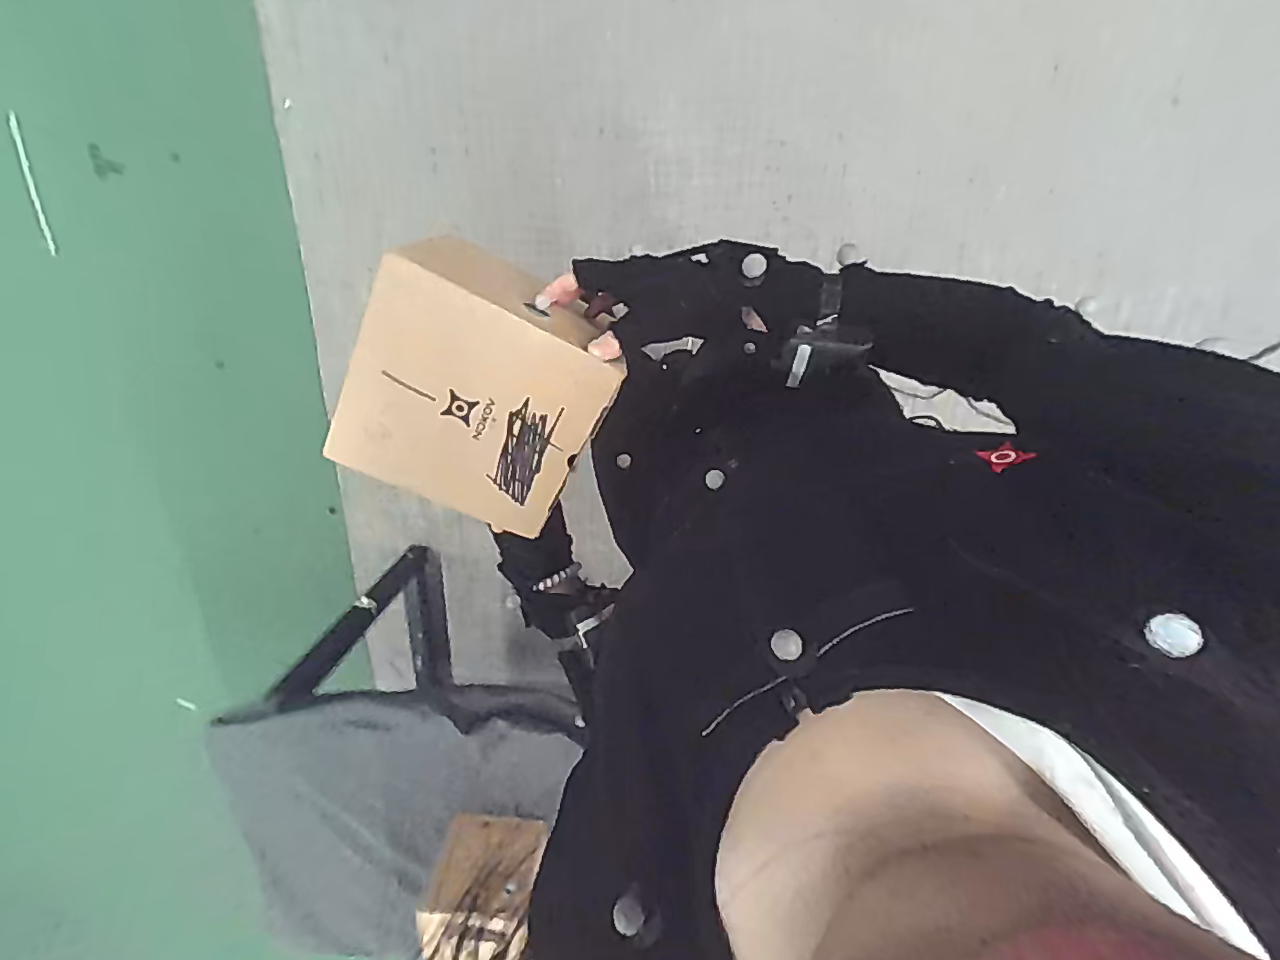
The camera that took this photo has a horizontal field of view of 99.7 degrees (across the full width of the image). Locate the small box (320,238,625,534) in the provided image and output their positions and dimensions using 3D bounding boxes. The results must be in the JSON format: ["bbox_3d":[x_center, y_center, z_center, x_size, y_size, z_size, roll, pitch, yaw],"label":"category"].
[{"bbox_3d":[-0.128,-0.090,0.467,0.179,0.176,0.168,27,112,-16],"label":"small box"}]
